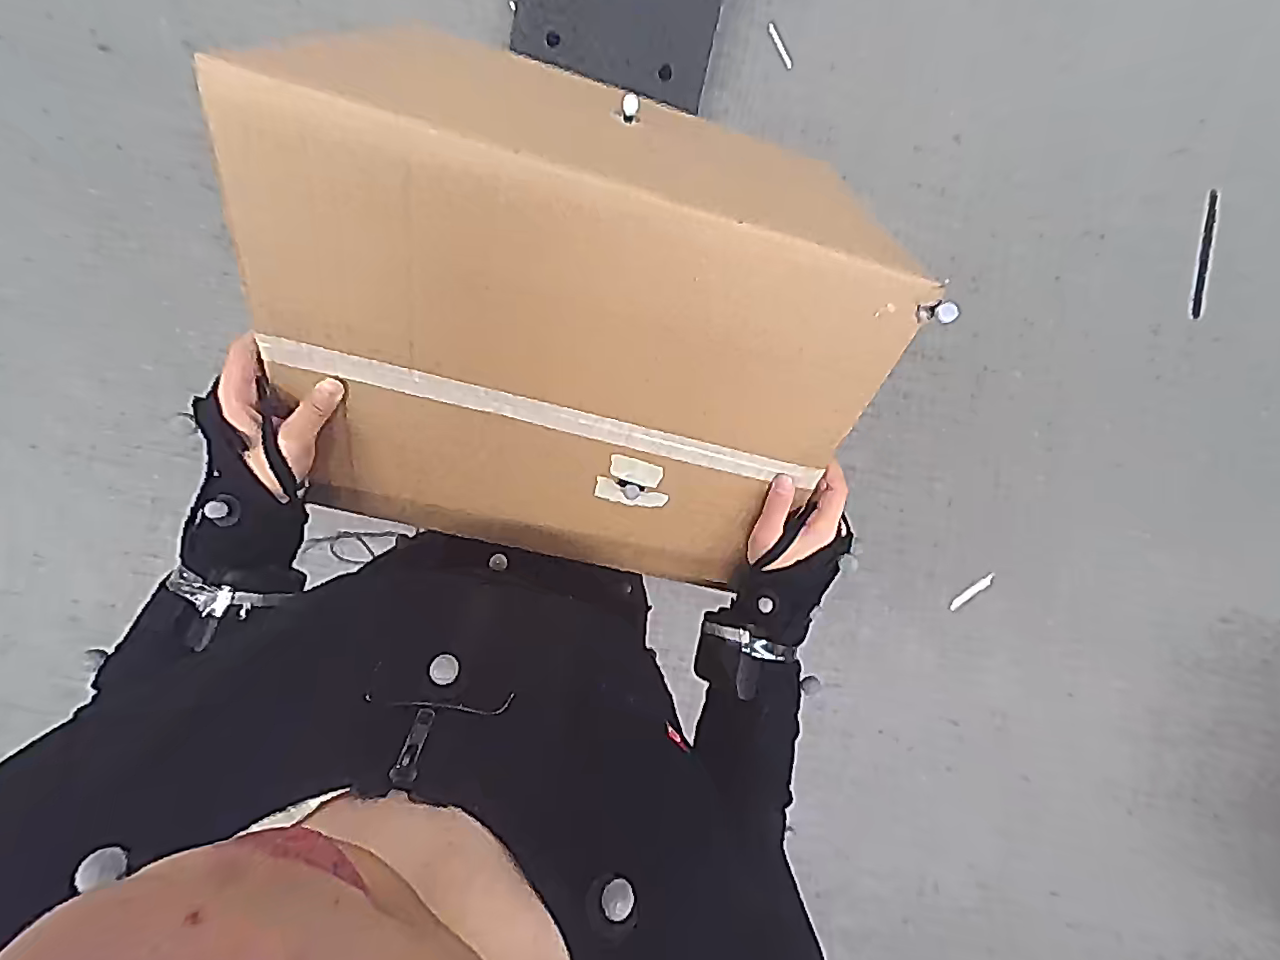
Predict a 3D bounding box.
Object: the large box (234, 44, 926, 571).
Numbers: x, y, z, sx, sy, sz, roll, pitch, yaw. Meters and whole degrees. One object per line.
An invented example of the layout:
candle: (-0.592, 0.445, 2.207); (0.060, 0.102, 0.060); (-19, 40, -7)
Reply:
large box: (-0.049, -0.156, 0.509); (0.408, 0.320, 0.320); (12, 133, -9)
